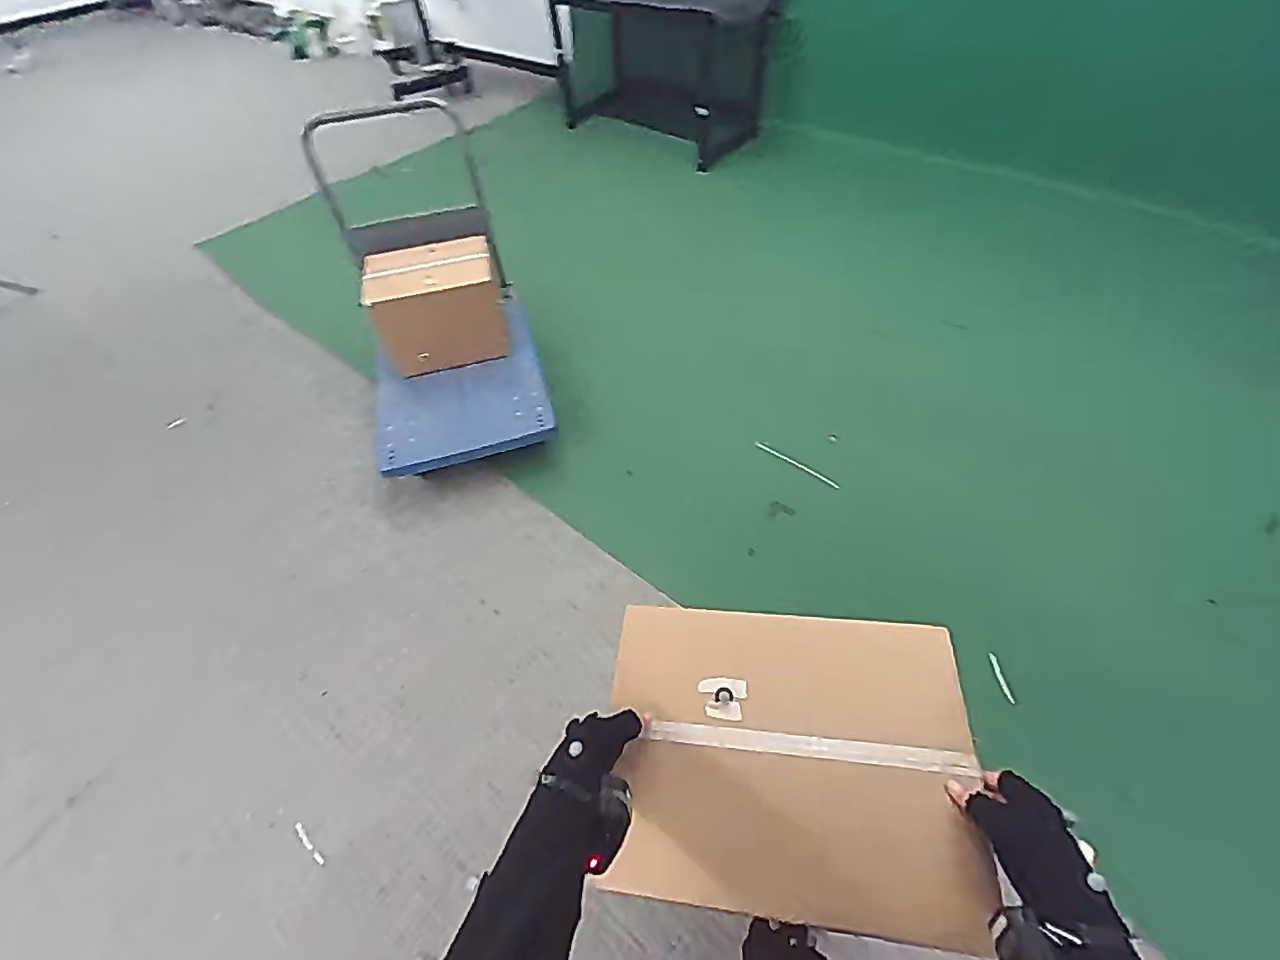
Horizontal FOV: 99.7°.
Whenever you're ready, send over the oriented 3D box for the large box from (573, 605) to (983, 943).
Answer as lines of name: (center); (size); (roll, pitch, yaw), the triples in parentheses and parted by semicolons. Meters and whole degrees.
large box: (0.164, 0.379, 0.735); (0.408, 0.320, 0.320); (1, 55, 12)
